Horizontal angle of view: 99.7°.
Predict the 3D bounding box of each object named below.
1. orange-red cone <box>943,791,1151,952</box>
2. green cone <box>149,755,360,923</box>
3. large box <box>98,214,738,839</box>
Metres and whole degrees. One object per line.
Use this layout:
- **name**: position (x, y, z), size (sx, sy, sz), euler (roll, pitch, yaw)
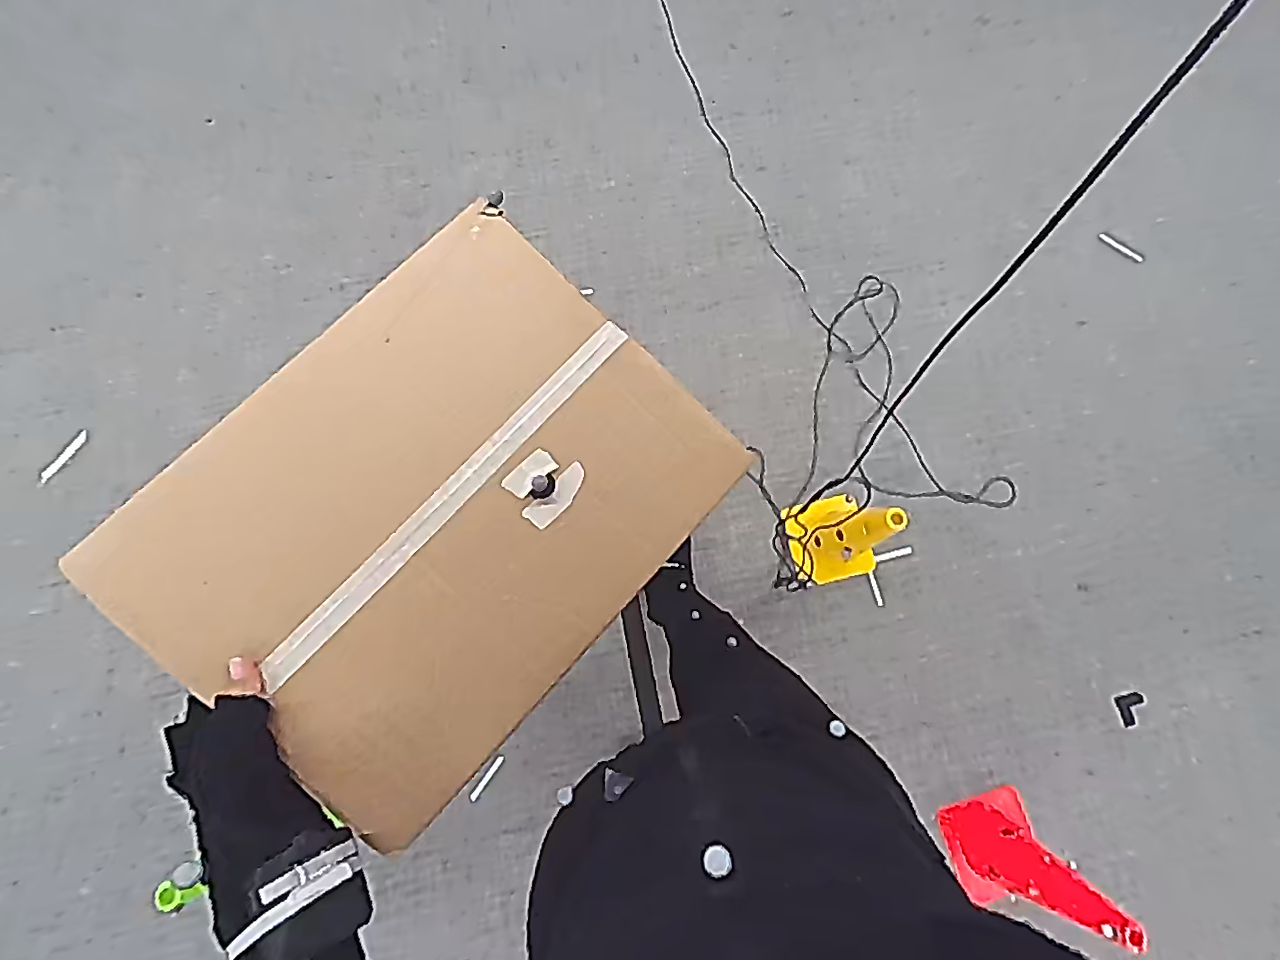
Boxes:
- **orange-red cone**: position (0.795, 0.777, 1.037), size (0.198, 0.360, 0.199), euler (-14, 76, -6)
- **green cone**: position (-0.741, 0.699, 1.013), size (0.200, 0.368, 0.202), euler (39, 81, 8)
- **large box**: position (-0.174, 0.037, 0.571), size (0.320, 0.320, 0.408), euler (43, 80, -2)
